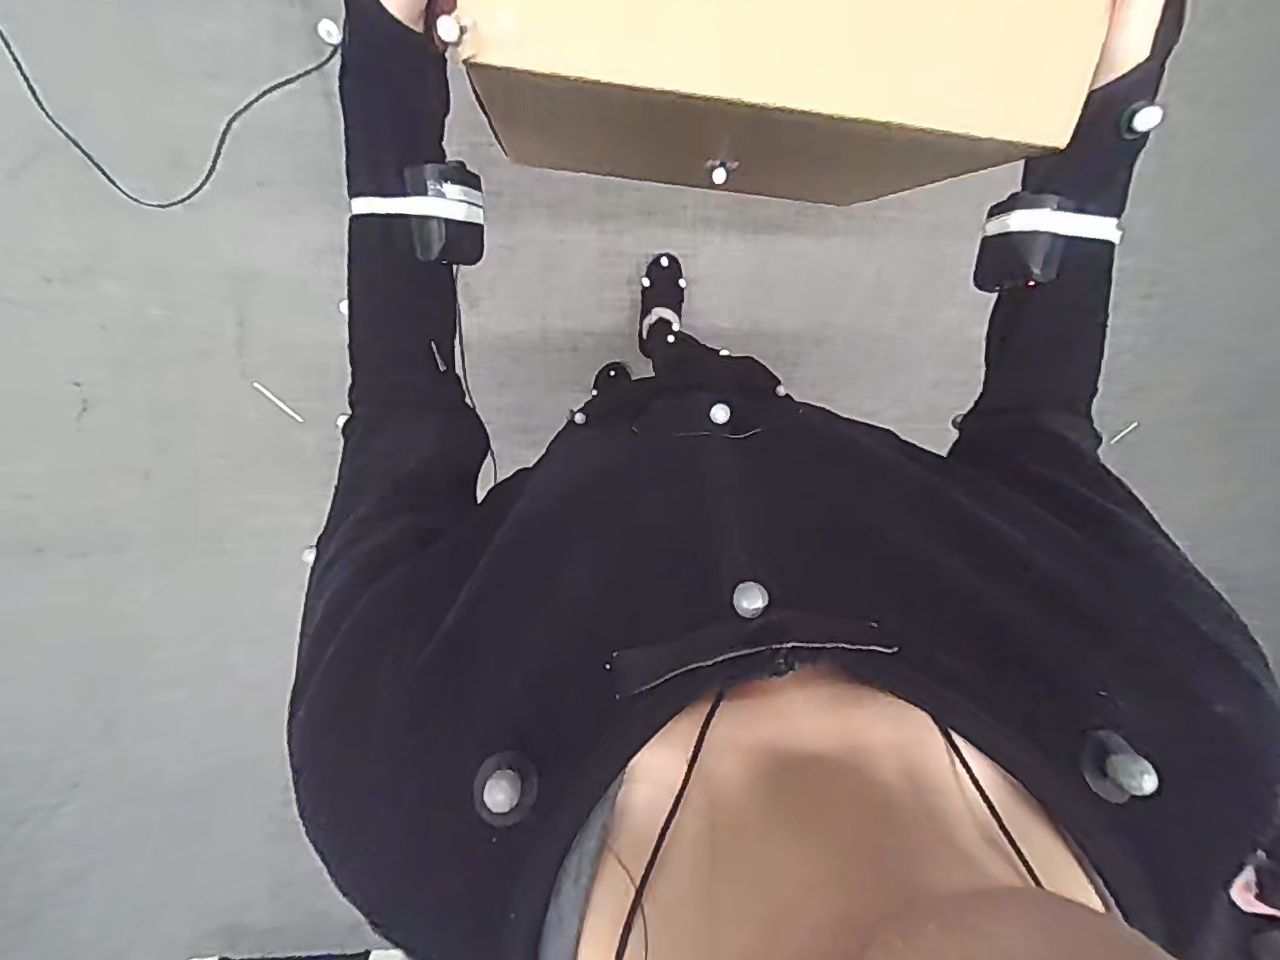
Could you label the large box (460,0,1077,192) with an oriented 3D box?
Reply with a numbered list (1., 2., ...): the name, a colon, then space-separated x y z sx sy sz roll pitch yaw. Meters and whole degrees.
1. large box: 0.084 -0.441 0.445 0.408 0.320 0.320 2 110 -7
